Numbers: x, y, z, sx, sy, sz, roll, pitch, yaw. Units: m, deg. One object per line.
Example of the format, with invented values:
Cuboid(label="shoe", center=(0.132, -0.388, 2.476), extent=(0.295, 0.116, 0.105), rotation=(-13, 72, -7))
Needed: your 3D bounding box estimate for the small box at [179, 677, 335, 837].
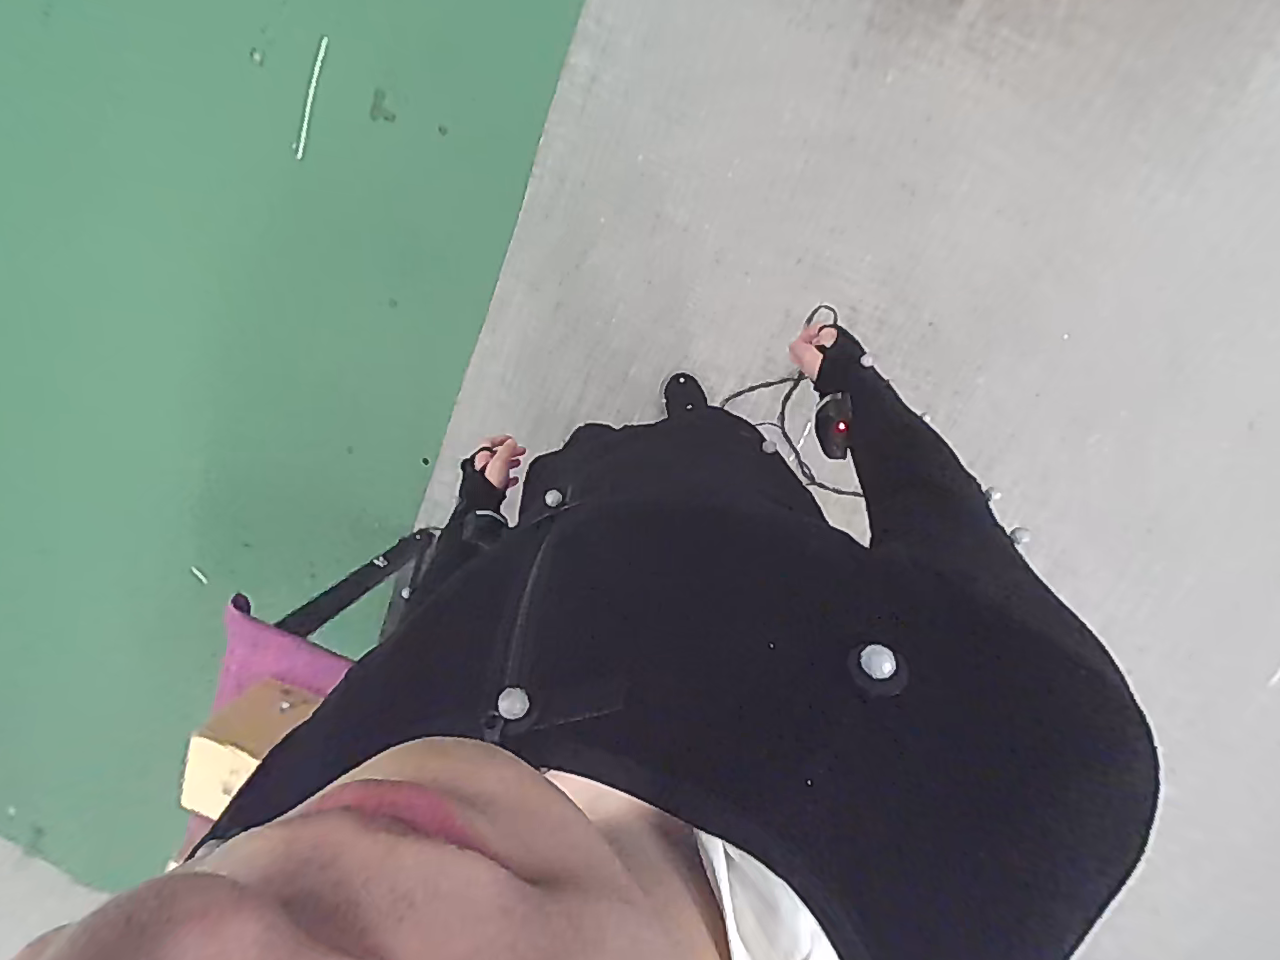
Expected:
Cuboid(label="small box", center=(-0.714, 0.515, 1.024), extent=(0.168, 0.176, 0.179), rotation=(23, 106, -1))
